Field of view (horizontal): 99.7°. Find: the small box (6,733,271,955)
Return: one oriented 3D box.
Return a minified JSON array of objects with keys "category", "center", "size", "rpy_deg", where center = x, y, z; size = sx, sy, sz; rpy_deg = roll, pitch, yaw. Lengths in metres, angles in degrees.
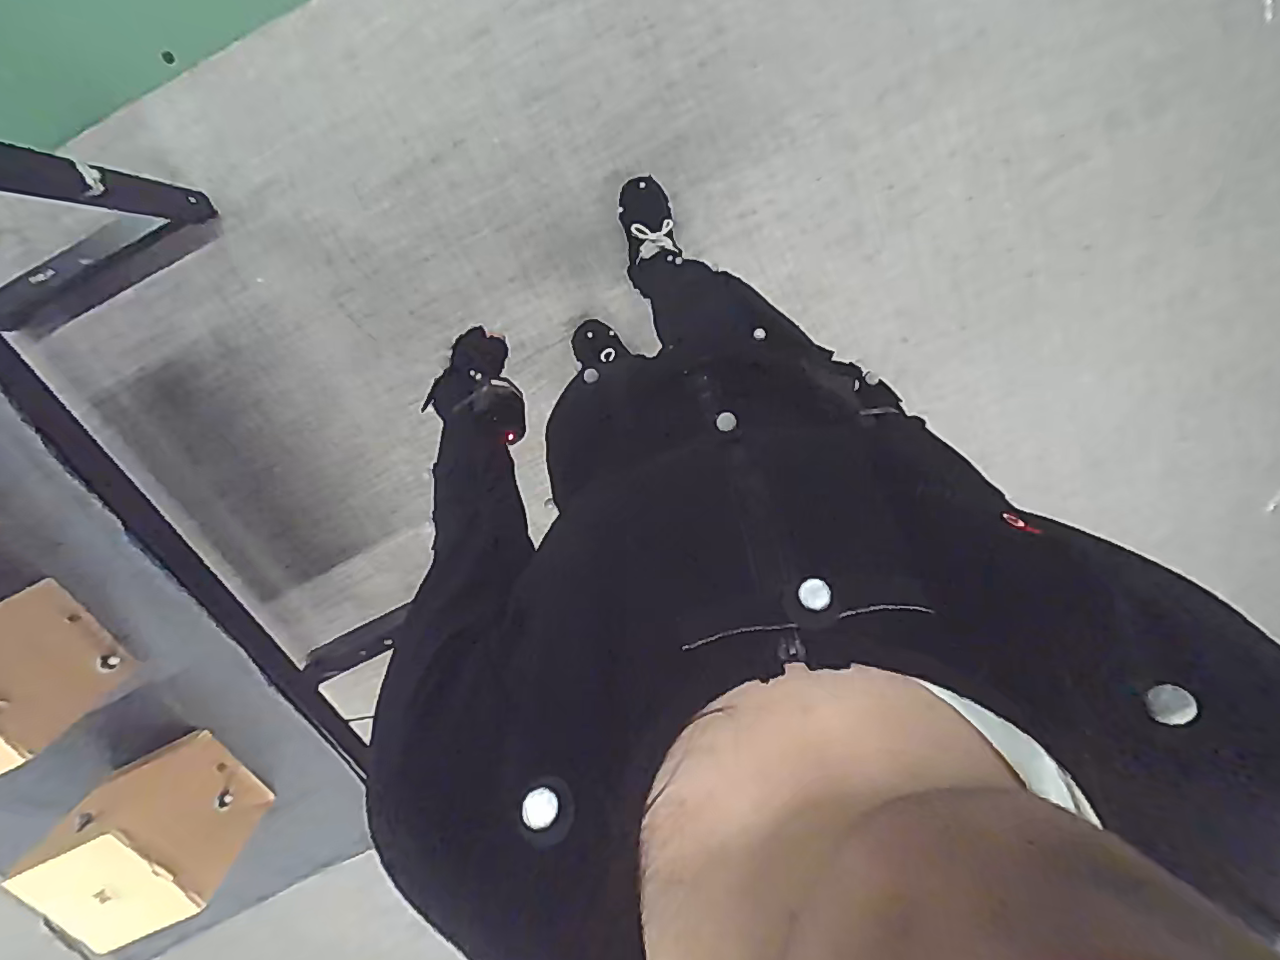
[{"category":"small box","center":[-0.680,0.501,0.762],"size":[0.179,0.176,0.168],"rpy_deg":[-27,109,5]}]

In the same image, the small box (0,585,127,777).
[{"category":"small box","center":[-0.804,0.259,0.666],"size":[0.179,0.176,0.168],"rpy_deg":[-25,109,5]}]
